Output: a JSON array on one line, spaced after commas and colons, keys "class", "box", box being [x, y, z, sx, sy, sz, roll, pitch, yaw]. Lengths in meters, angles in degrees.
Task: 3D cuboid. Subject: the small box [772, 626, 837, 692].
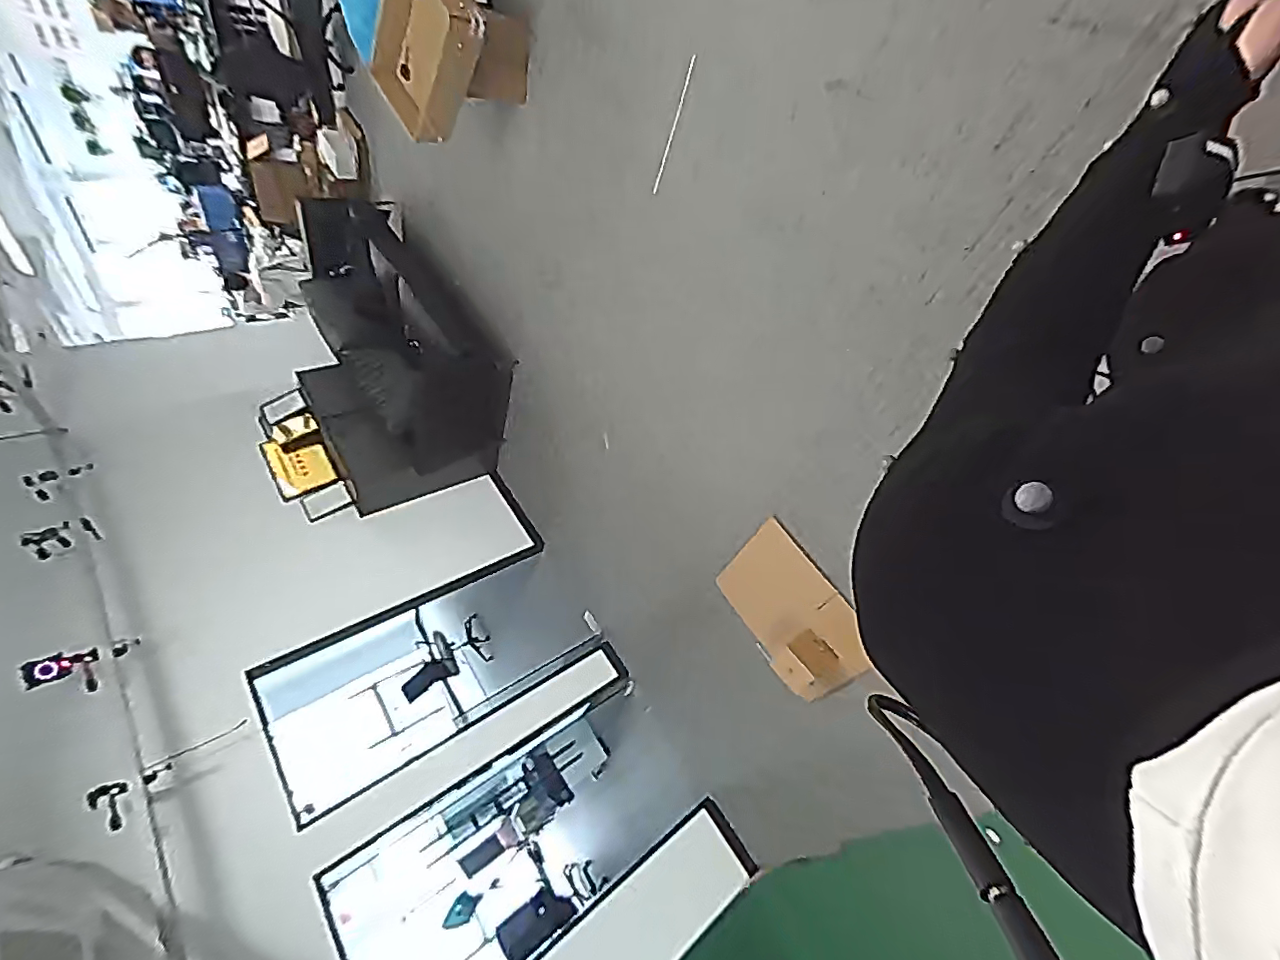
[{"class": "small box", "box": [0.694, 0.750, 2.273, 0.168, 0.176, 0.179, 48, 141, 26]}]
